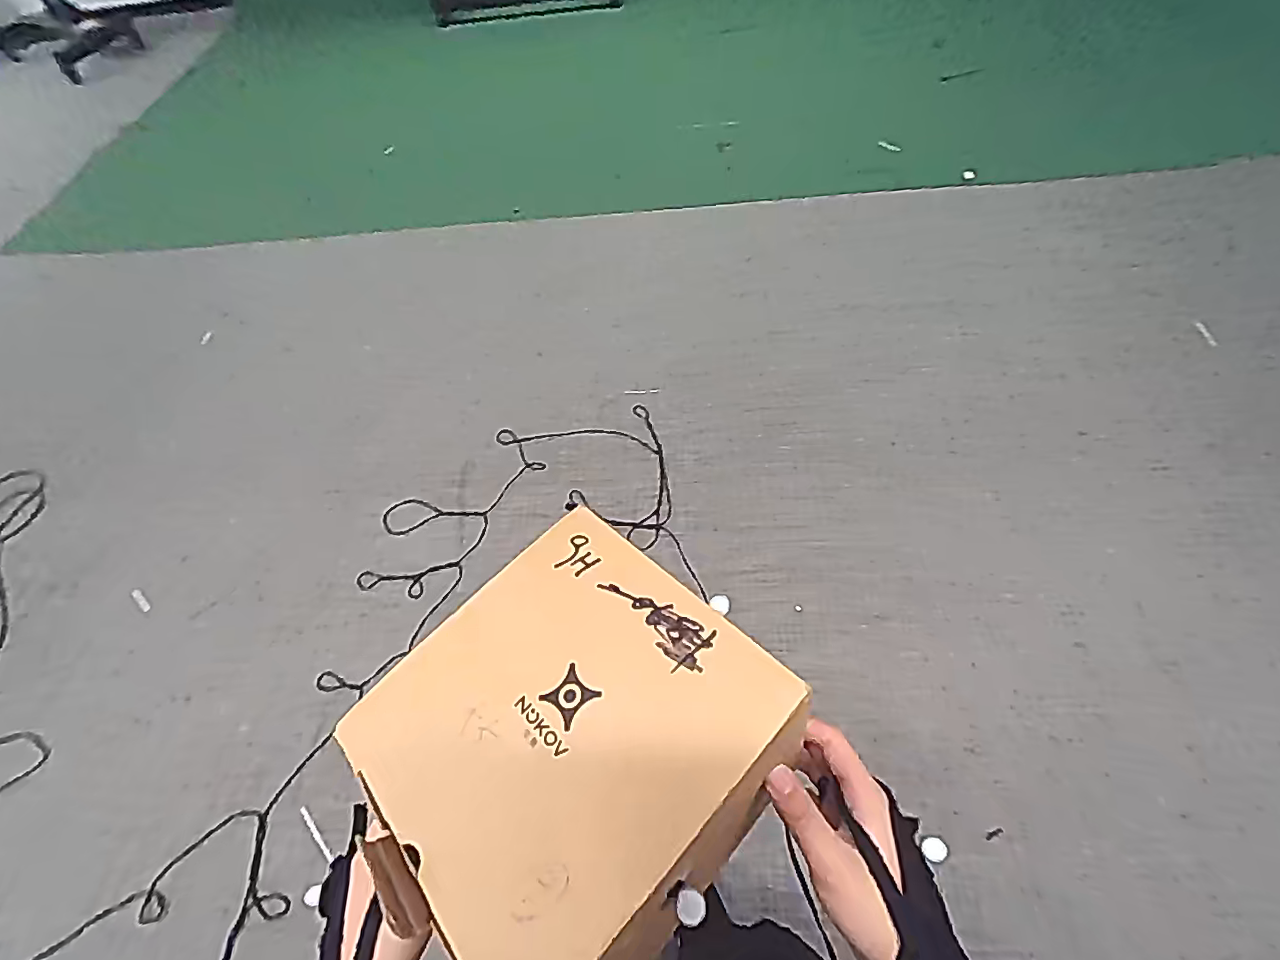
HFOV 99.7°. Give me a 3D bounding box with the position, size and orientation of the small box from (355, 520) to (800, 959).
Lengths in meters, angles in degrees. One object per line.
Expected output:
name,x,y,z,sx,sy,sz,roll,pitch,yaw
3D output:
small box,-0.021,0.166,0.329,0.179,0.176,0.168,-42,55,-19
